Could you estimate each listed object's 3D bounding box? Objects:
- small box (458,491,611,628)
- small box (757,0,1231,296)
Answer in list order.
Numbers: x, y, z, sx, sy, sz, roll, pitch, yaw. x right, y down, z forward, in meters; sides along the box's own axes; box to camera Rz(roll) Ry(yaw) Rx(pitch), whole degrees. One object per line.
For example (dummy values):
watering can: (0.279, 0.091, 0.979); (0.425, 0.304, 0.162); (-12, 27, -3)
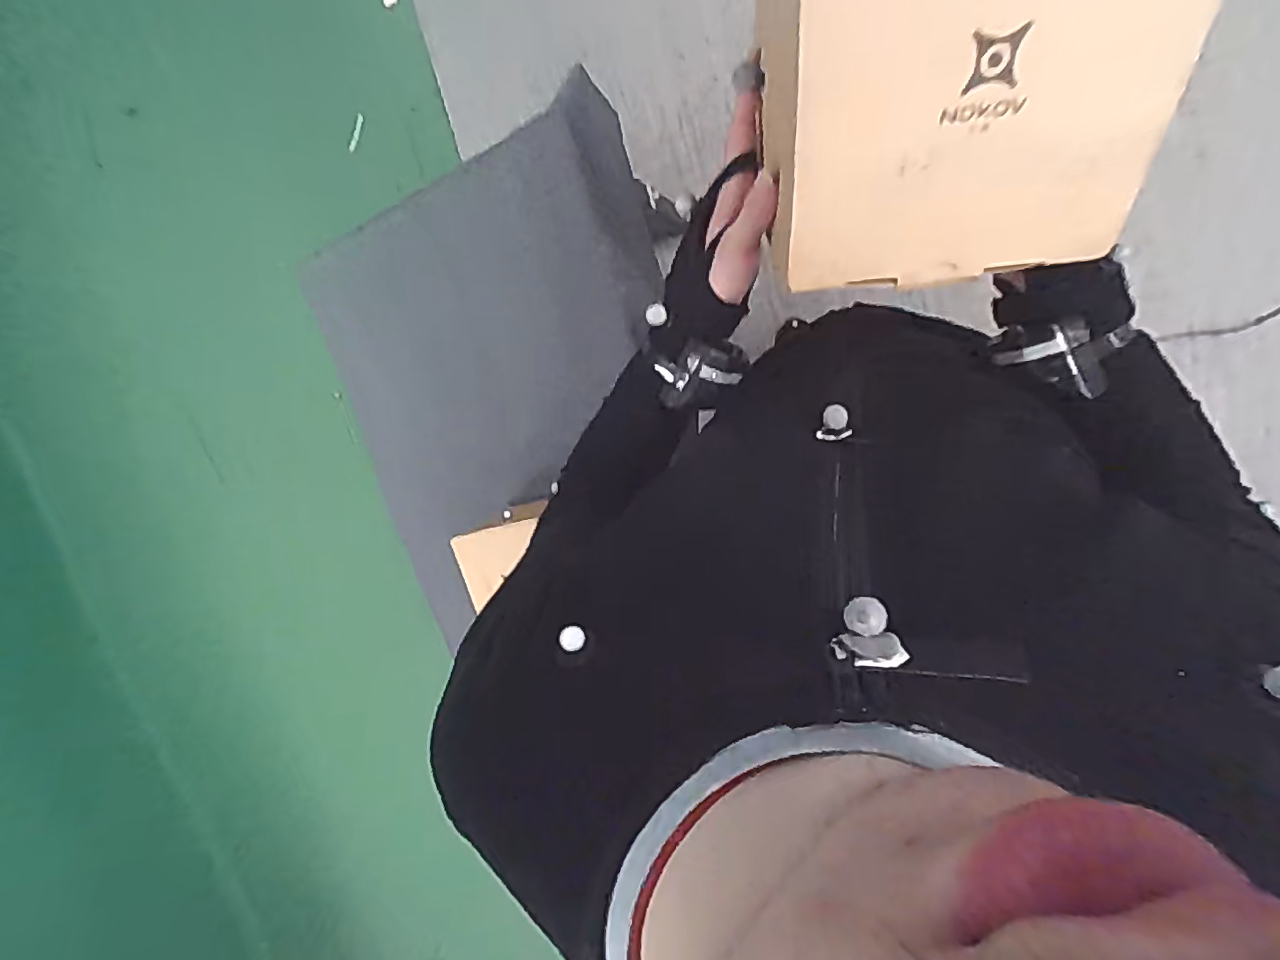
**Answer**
small box: (-0.164, 0.128, 0.912); (0.179, 0.176, 0.168); (-13, 99, 25)
small box: (0.158, -0.227, 0.296); (0.168, 0.176, 0.179); (-4, 134, 6)
